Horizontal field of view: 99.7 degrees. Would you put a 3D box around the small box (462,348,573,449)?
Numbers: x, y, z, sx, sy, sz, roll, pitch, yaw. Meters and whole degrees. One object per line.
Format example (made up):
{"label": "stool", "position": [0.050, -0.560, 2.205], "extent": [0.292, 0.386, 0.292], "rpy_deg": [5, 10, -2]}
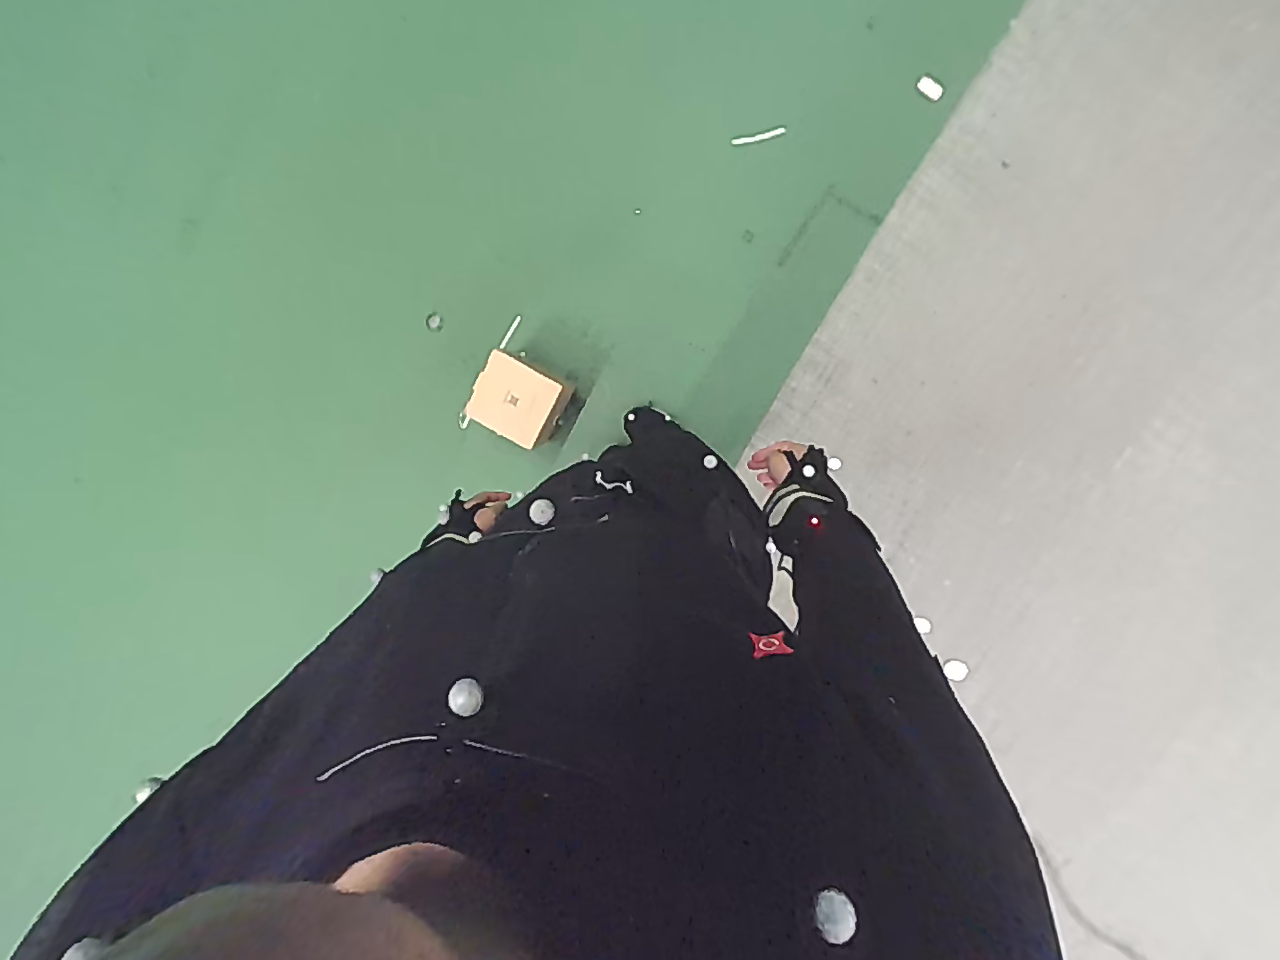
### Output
{"label": "small box", "position": [-0.280, -0.192, 1.269], "extent": [0.179, 0.176, 0.168], "rpy_deg": [28, 102, -3]}
